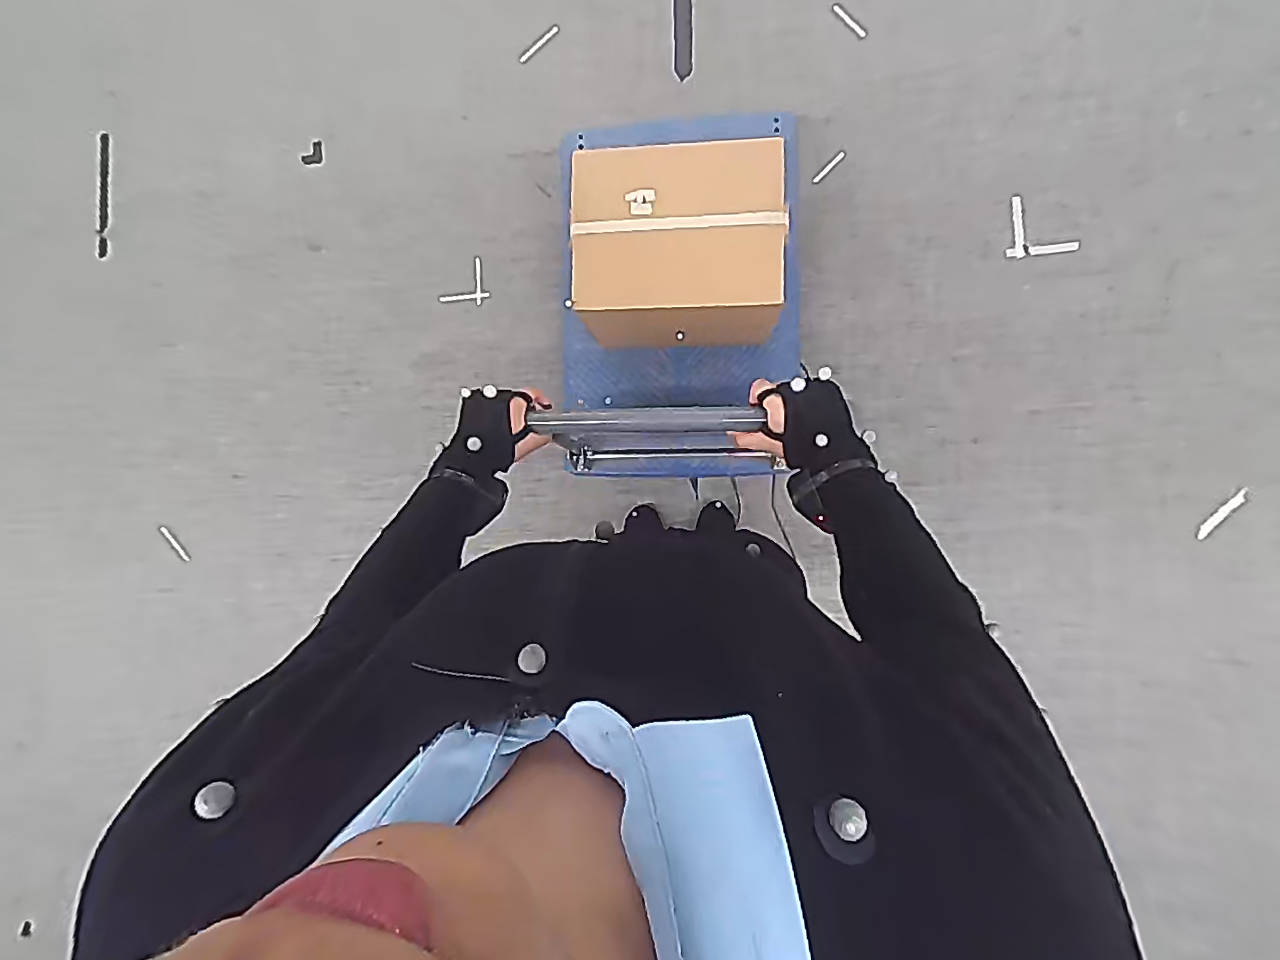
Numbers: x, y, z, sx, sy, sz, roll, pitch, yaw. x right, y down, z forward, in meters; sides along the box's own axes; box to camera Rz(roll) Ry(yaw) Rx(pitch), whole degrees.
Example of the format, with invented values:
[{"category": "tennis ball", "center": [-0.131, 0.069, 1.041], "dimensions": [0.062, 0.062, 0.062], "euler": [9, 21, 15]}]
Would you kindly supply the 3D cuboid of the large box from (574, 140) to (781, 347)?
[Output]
[{"category": "large box", "center": [0.088, -0.485, 1.189], "dimensions": [0.408, 0.320, 0.320], "euler": [0, 89, 8]}]
